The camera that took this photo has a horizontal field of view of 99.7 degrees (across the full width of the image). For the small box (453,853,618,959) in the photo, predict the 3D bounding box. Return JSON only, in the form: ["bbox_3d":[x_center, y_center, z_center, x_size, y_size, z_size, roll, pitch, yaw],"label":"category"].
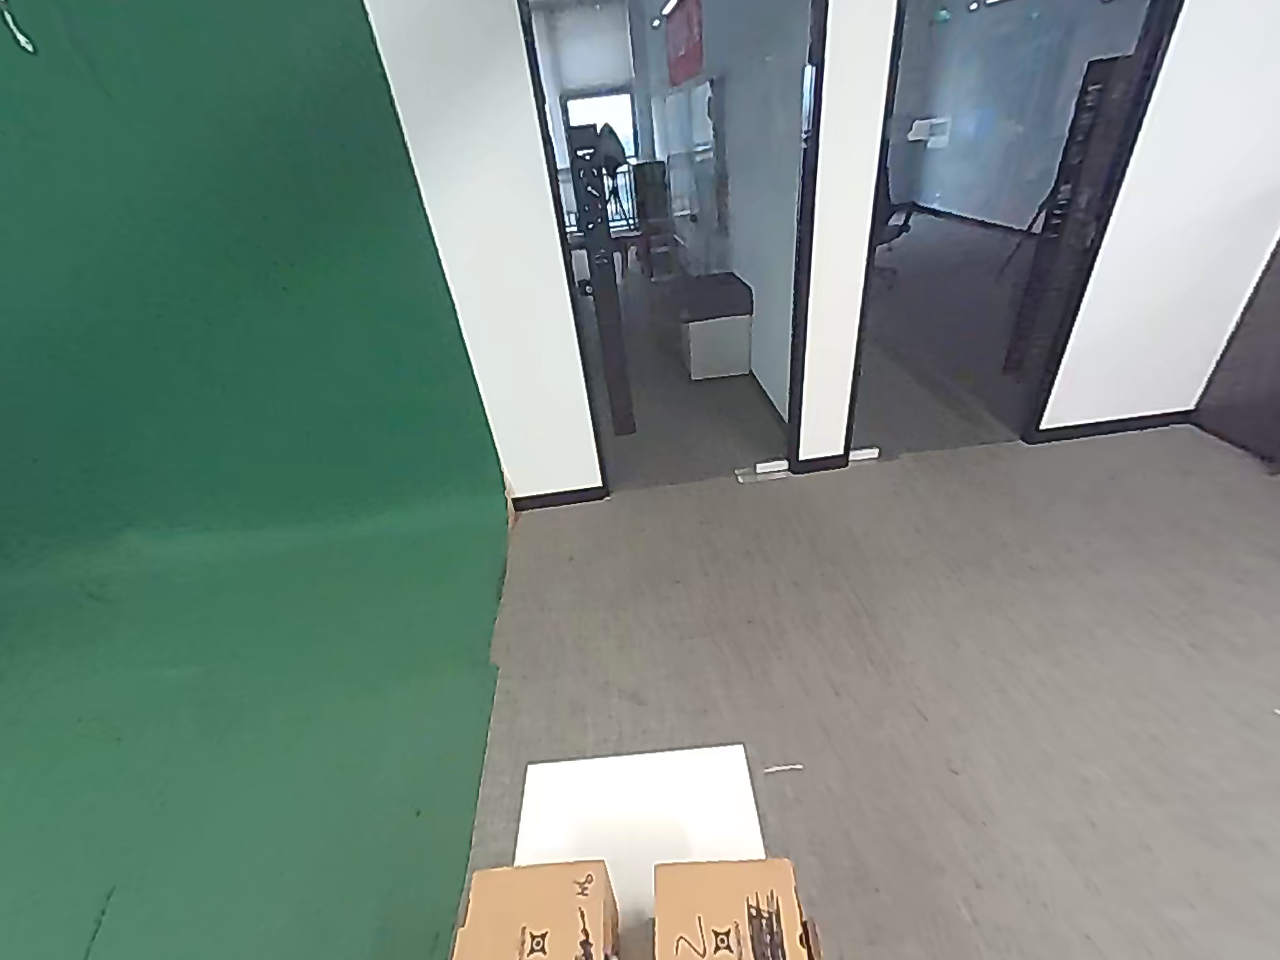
[{"bbox_3d":[-0.126,0.609,0.688,0.179,0.176,0.168,-5,34,1],"label":"small box"}]
